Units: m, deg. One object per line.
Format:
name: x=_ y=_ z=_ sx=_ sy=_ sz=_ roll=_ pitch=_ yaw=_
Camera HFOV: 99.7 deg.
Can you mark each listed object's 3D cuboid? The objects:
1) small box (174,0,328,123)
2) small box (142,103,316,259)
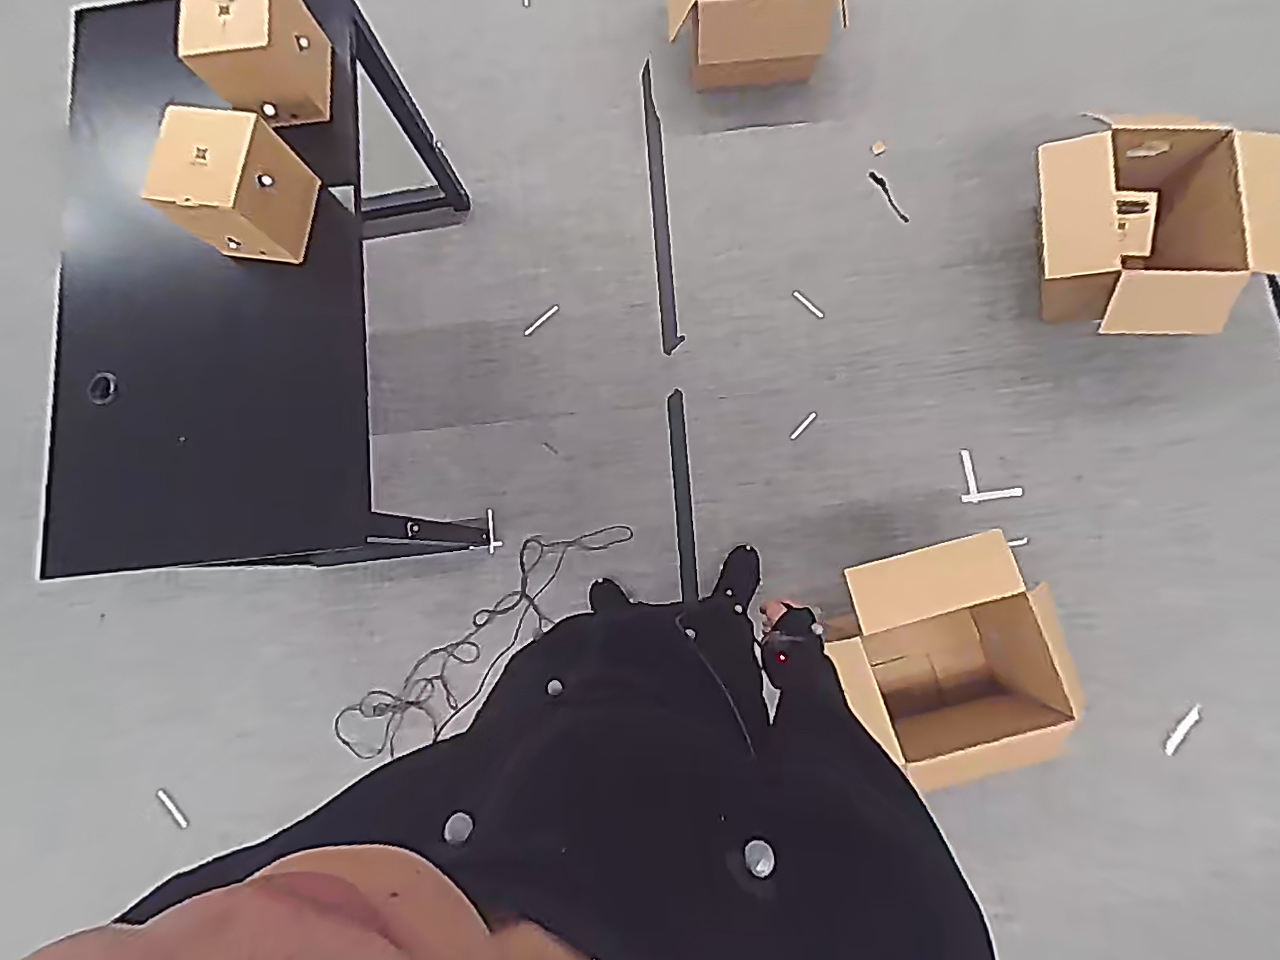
small box: x=-0.707 y=-0.804 z=1.000 sx=0.168 sy=0.176 sz=0.179 roll=-4 pitch=84 yaw=4
small box: x=-0.719 y=-0.526 z=0.968 sx=0.168 sy=0.176 sz=0.179 roll=7 pitch=84 yaw=6
